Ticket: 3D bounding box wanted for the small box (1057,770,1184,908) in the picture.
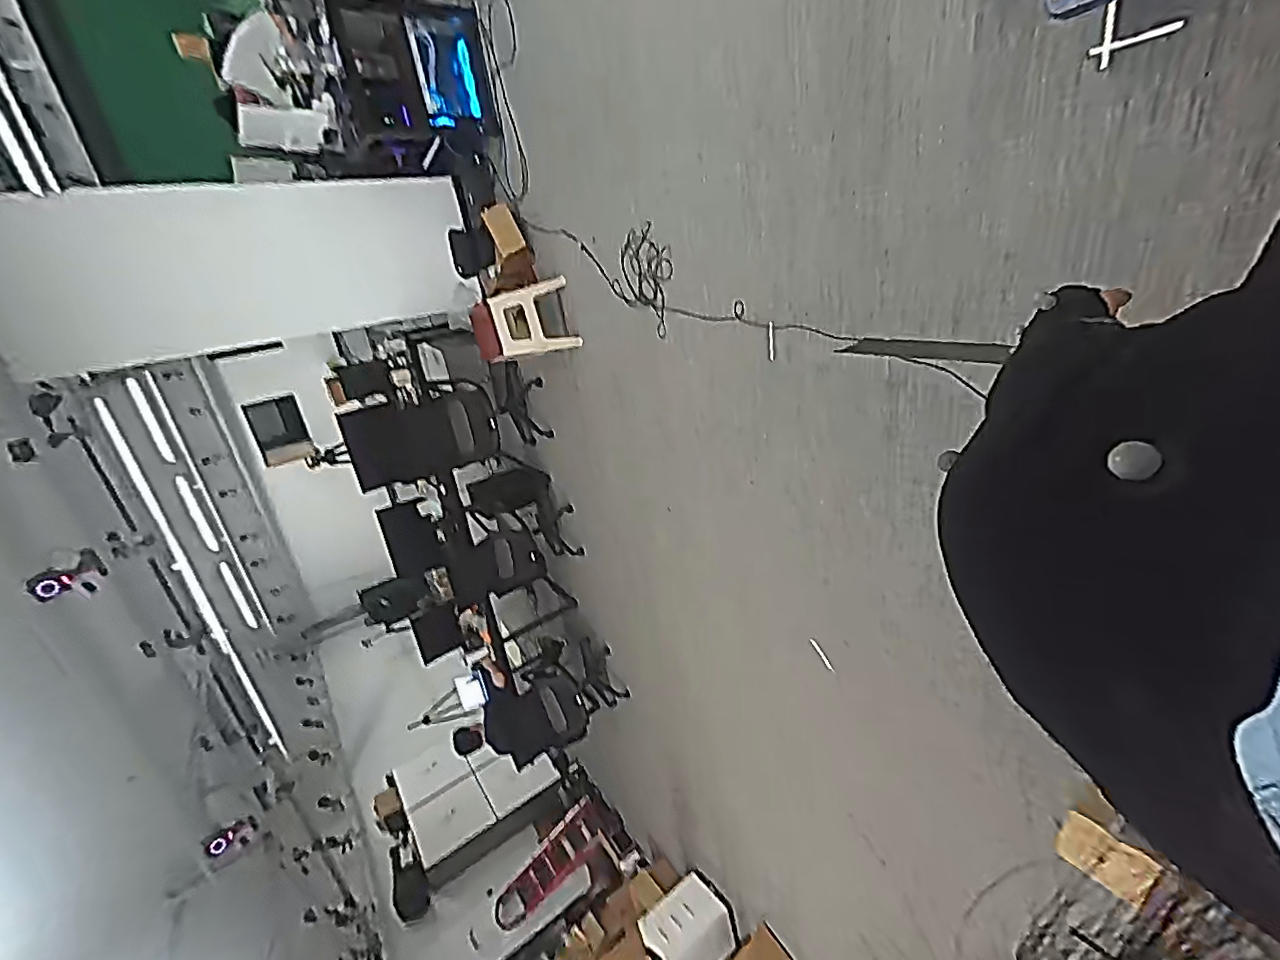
[{"bbox_3d":[1.138,0.841,1.281,0.168,0.176,0.179,27,131,47],"label":"small box"}]
